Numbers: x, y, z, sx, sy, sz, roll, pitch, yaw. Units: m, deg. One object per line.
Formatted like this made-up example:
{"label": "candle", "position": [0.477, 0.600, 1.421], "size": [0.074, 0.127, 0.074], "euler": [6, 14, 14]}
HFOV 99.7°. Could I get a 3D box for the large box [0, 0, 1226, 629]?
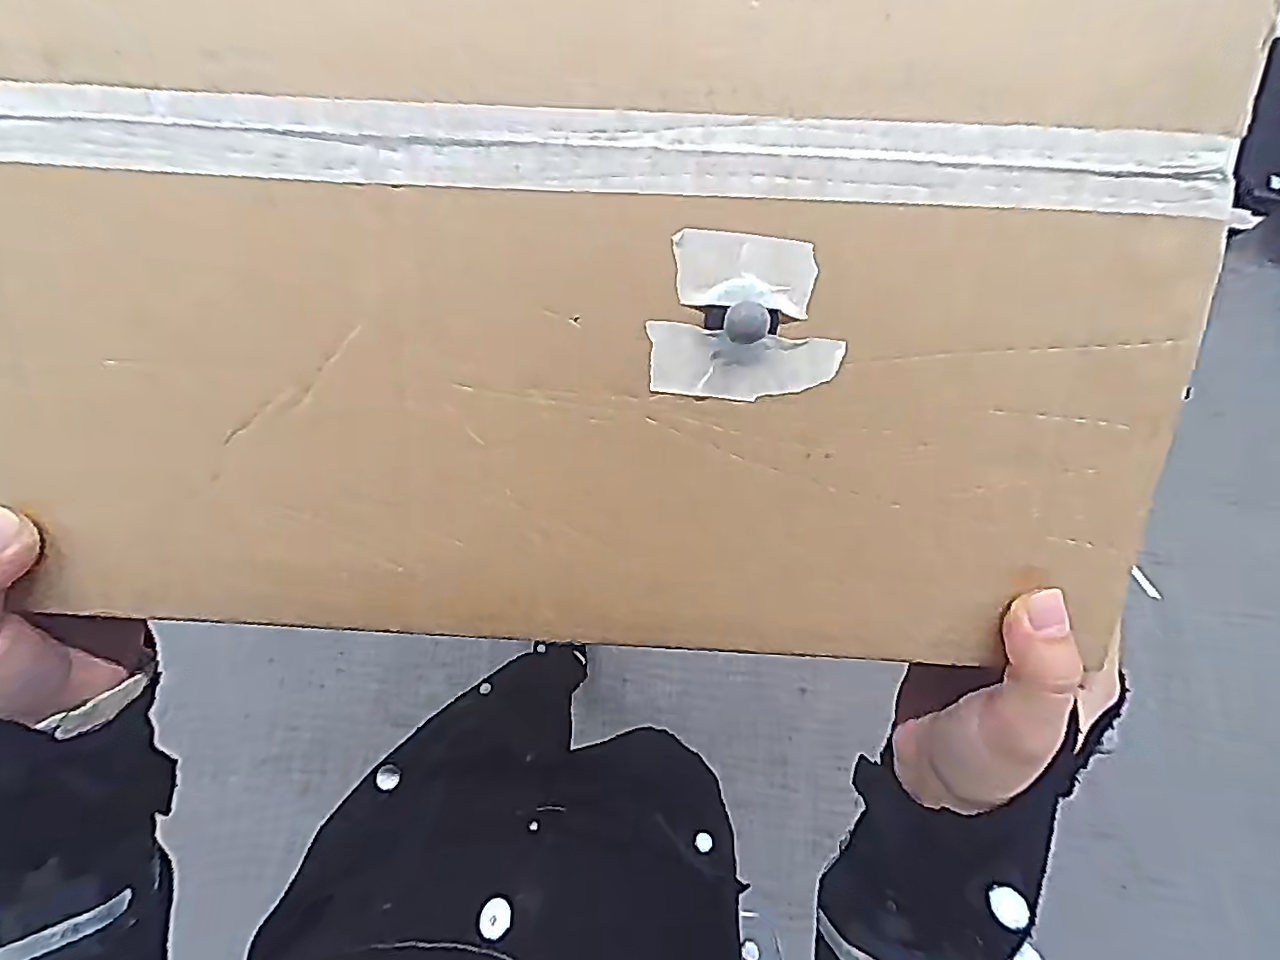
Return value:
{"label": "large box", "position": [-0.031, -0.129, 0.317], "size": [0.408, 0.320, 0.320], "euler": [3, 103, 0]}
